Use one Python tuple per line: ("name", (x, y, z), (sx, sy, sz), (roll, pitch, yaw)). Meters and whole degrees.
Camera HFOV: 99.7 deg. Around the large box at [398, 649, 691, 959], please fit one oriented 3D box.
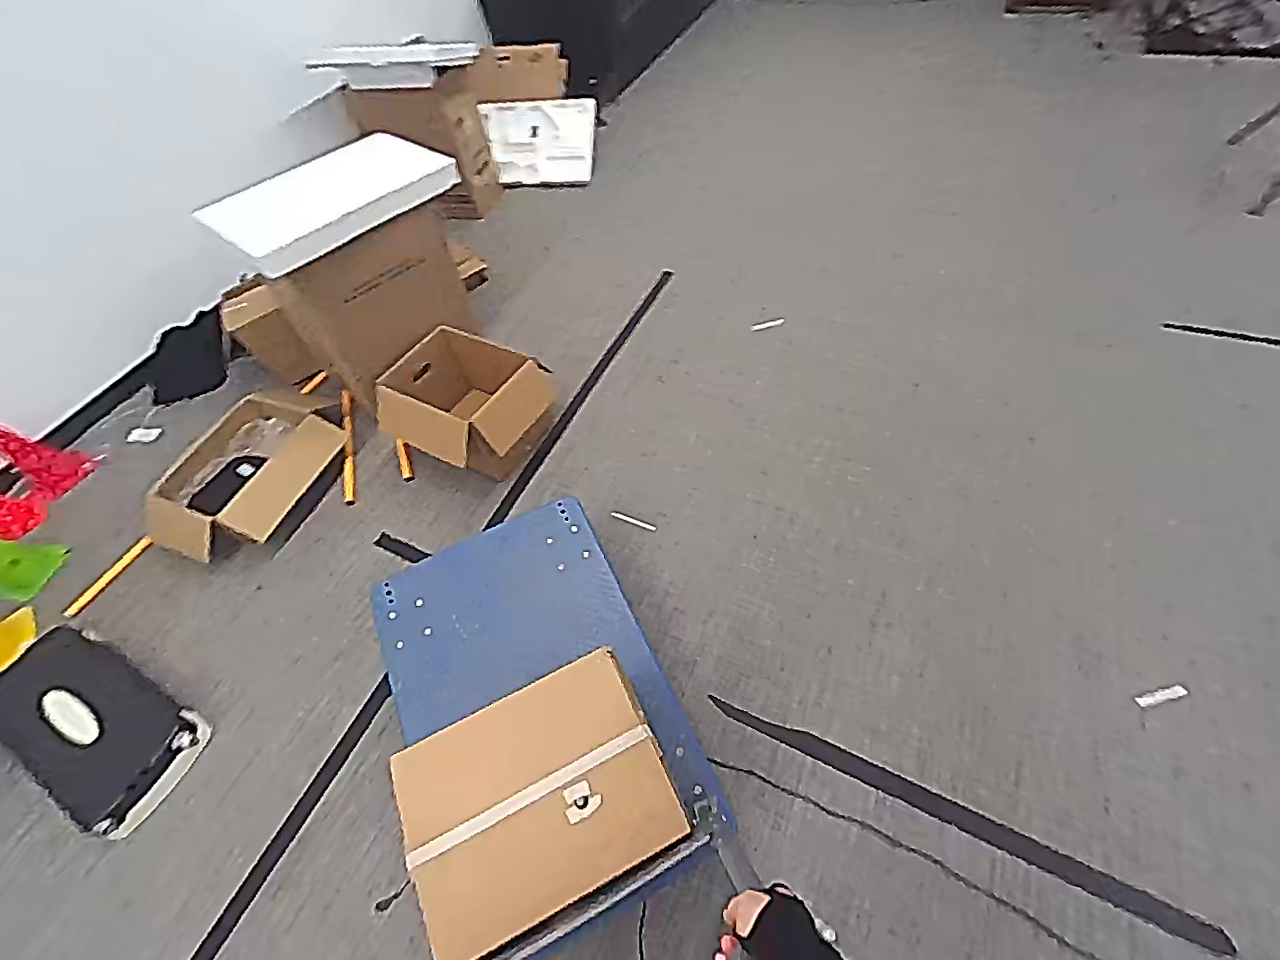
("large box", (-0.152, 0.578, 0.993), (0.408, 0.320, 0.320), (-26, 62, -10))
